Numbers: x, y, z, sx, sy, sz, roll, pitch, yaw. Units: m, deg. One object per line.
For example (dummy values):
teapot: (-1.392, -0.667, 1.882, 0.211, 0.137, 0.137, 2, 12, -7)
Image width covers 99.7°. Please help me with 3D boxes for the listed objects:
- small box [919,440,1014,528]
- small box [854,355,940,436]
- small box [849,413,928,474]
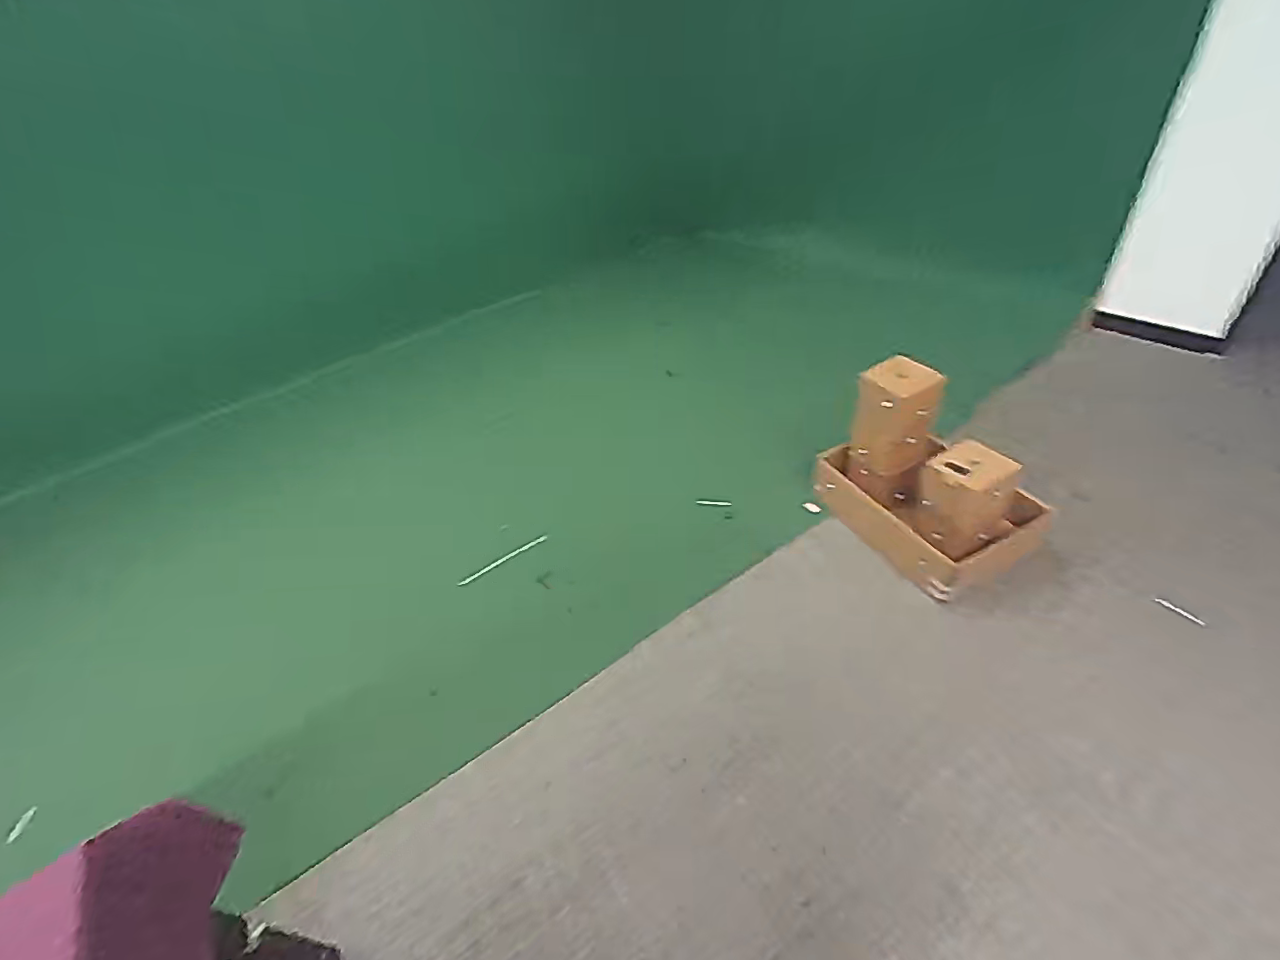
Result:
small box: (0.959, 0.014, 1.606, 0.179, 0.176, 0.168, -25, 42, -14)
small box: (0.805, -0.261, 1.710, 0.168, 0.176, 0.179, -26, 44, -14)
small box: (0.831, -0.151, 1.830, 0.179, 0.176, 0.168, -25, 43, -12)
